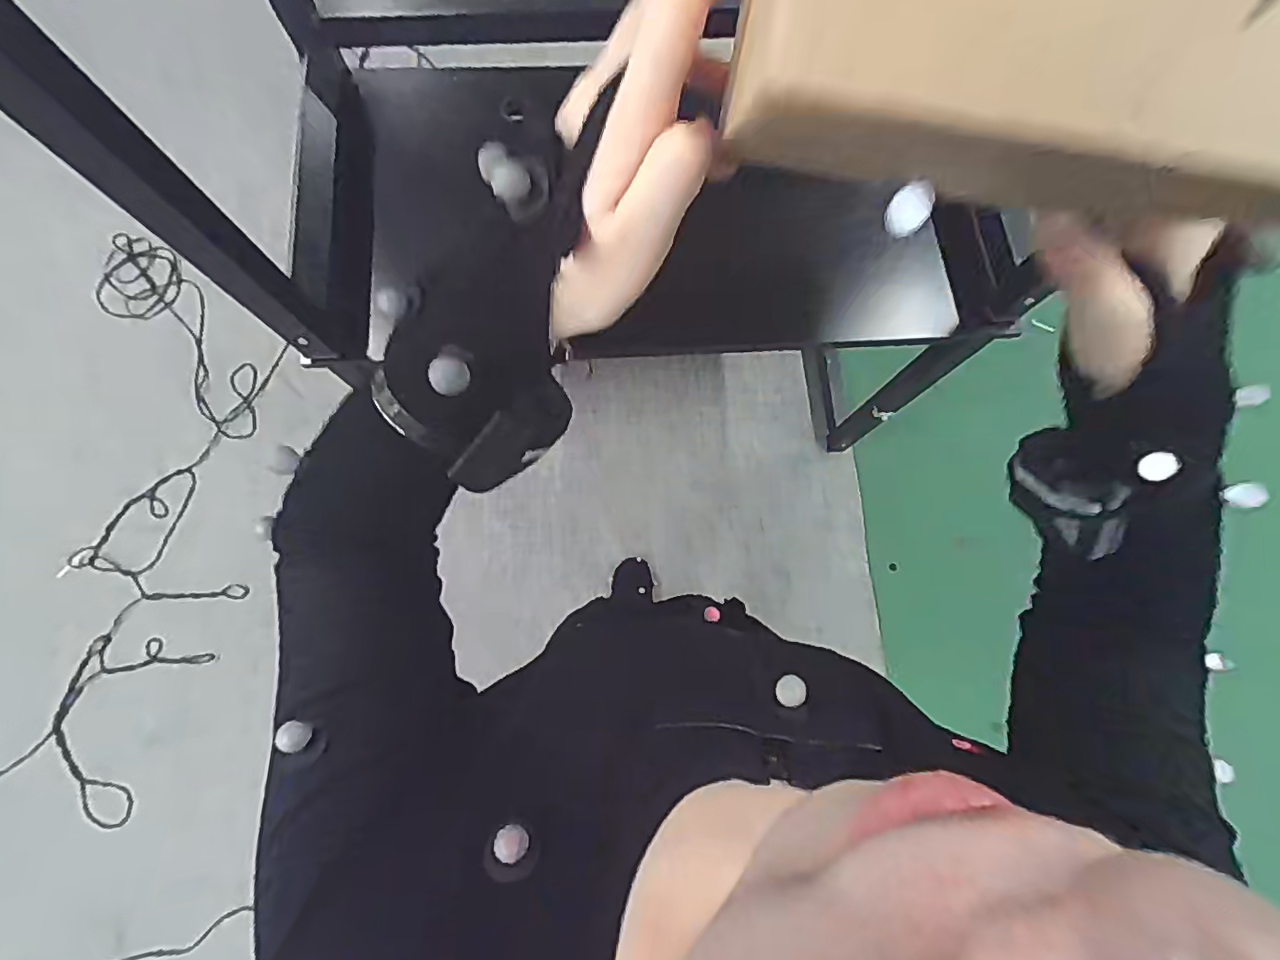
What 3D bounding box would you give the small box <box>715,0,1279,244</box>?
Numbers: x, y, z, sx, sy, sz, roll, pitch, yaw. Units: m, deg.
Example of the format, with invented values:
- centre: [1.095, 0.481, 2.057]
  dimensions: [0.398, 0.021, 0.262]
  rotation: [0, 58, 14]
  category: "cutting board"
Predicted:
- centre: [0.117, -0.172, 0.140]
  dimensions: [0.168, 0.176, 0.179]
  rotation: [10, 119, 0]
  category: "small box"
